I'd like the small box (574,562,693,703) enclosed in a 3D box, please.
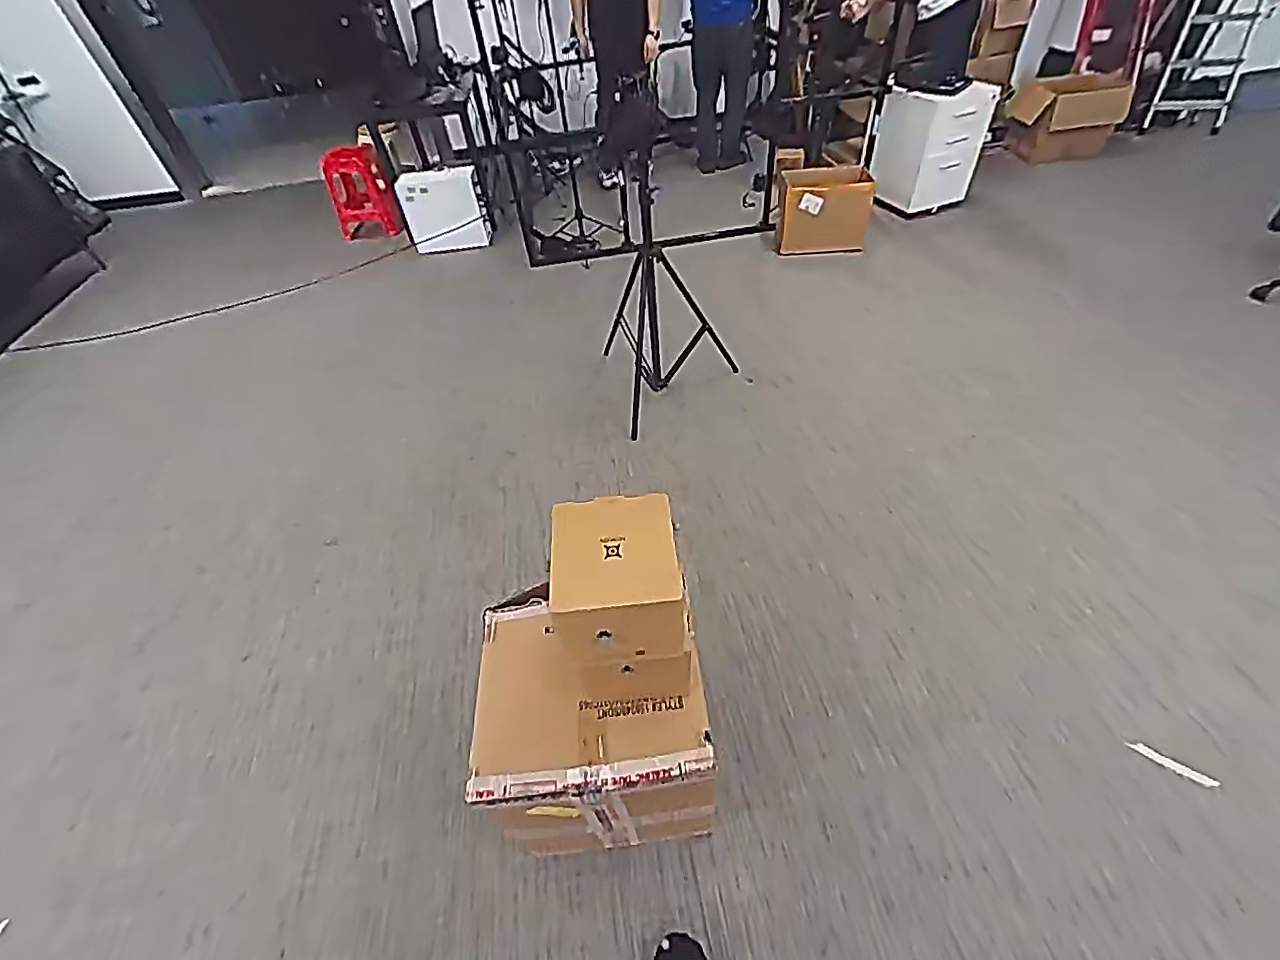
[{"bbox_3d":[-0.007,0.255,0.890,0.179,0.176,0.168,-4,48,1],"label":"small box"}]

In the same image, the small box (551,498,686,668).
[{"bbox_3d":[-0.027,0.152,0.766,0.168,0.176,0.179,-7,47,-1],"label":"small box"}]
